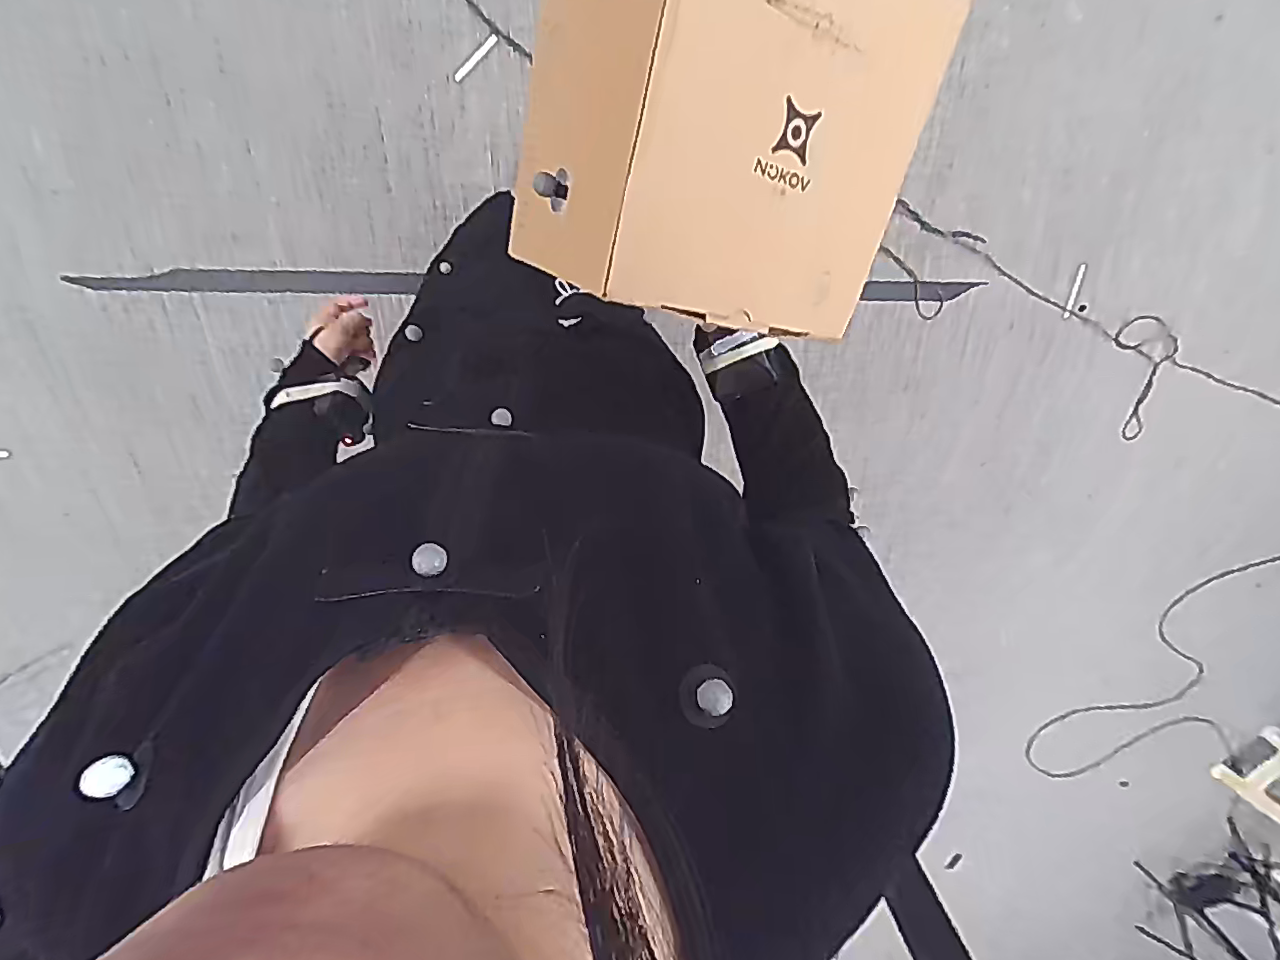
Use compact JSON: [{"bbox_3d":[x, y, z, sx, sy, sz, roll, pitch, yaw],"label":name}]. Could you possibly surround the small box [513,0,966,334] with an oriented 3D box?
[{"bbox_3d":[0.034,-0.199,0.313,0.168,0.176,0.179,-1,116,-31],"label":"small box"}]
